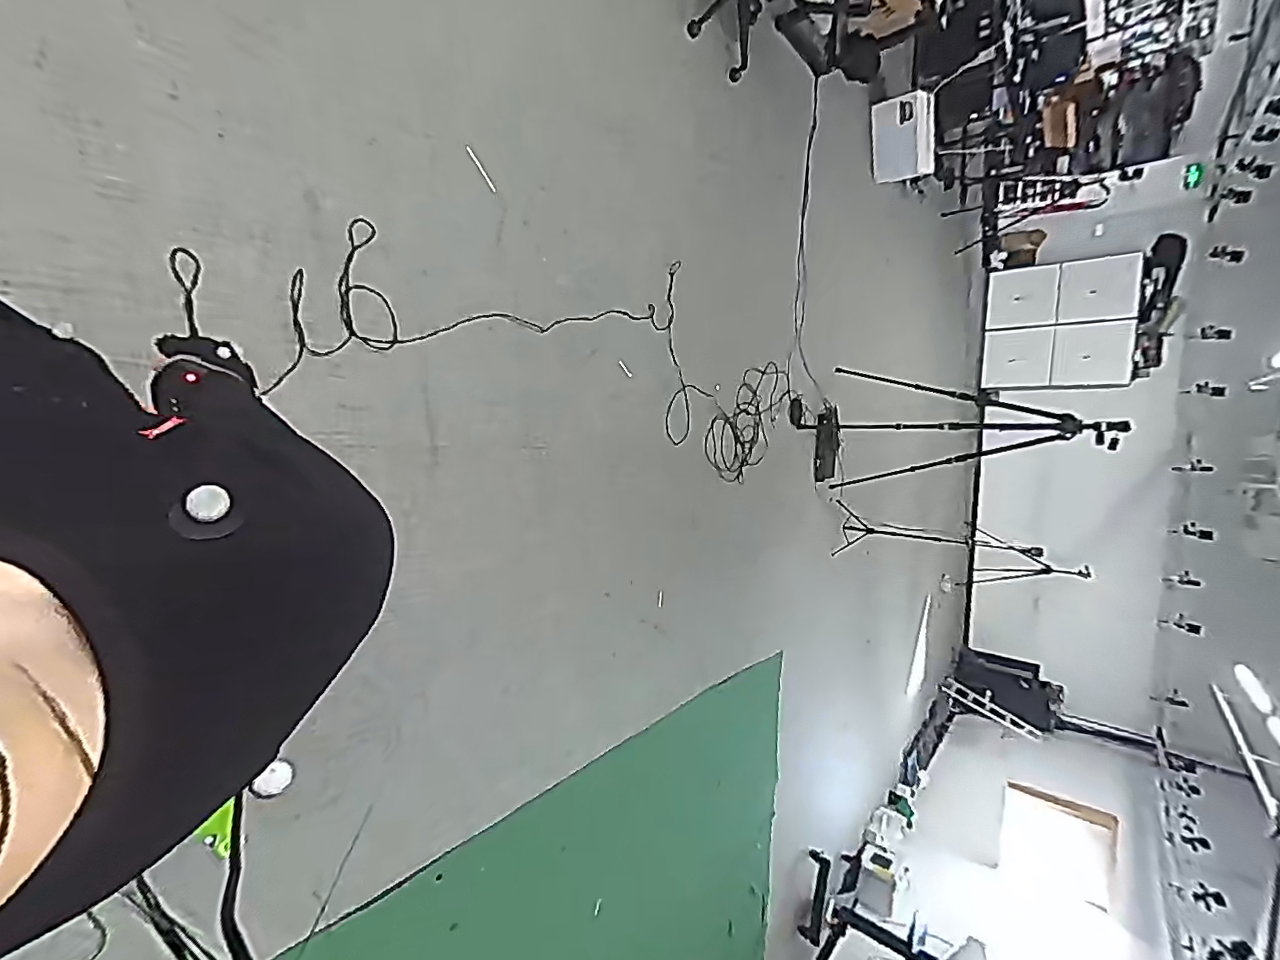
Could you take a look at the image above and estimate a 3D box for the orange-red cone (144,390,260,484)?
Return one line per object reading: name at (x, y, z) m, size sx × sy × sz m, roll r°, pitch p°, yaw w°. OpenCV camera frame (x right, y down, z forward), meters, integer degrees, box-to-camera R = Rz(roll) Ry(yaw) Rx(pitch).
orange-red cone at (-0.848, -0.073, 1.103) m, size 0.198 × 0.360 × 0.199 m, roll 4°, pitch 93°, yaw -49°
